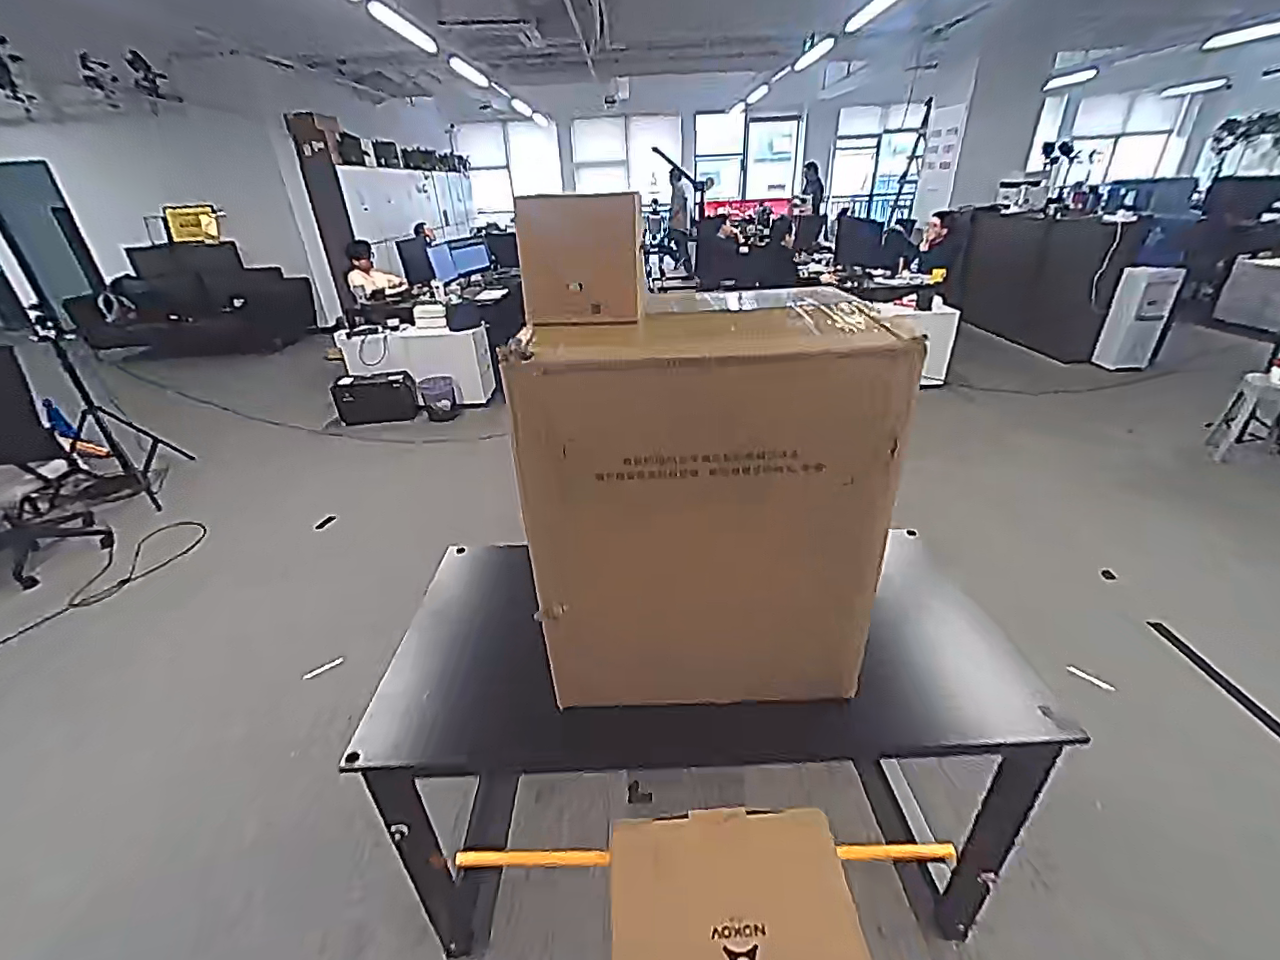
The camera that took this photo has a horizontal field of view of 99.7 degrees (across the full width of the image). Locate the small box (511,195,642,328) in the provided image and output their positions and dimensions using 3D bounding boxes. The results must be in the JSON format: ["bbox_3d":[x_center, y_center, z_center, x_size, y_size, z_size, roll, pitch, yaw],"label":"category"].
[{"bbox_3d":[-0.084,-0.334,0.820,0.168,0.176,0.179,-1,28,3],"label":"small box"}]

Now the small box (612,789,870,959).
[{"bbox_3d":[0.062,0.360,0.399,0.168,0.176,0.179,-2,37,-3],"label":"small box"}]
